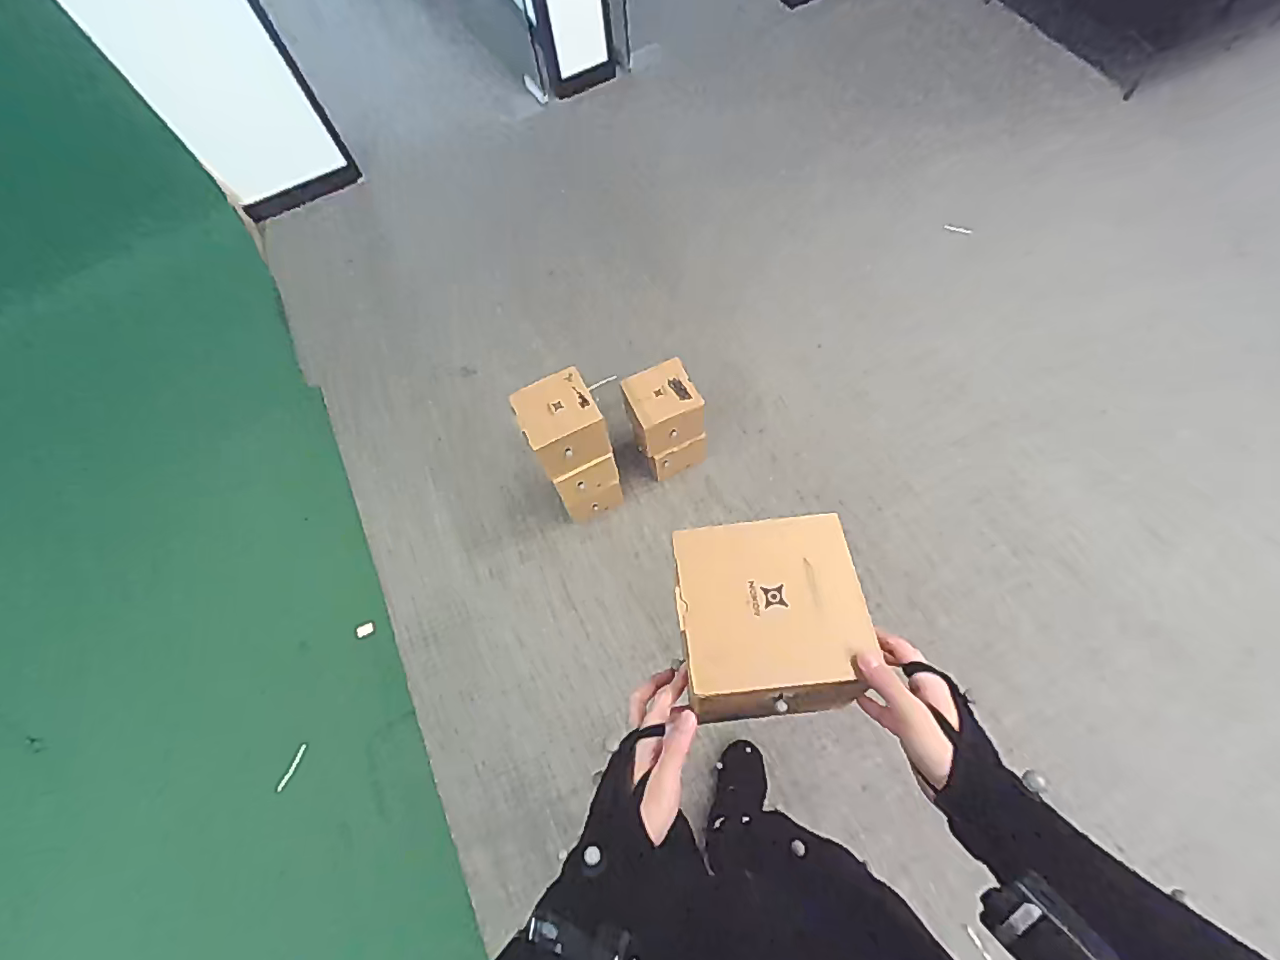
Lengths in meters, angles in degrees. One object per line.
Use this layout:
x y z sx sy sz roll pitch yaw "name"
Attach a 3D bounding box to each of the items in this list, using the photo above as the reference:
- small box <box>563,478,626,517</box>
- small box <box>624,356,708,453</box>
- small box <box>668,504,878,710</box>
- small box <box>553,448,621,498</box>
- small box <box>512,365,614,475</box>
-0.151 -0.007 1.603 0.168 0.176 0.179 -24 68 -6 "small box"
0.072 -0.201 1.485 0.179 0.176 0.168 -24 66 -4 "small box"
0.129 0.146 0.592 0.179 0.176 0.168 -7 57 2 "small box"
-0.163 -0.069 1.454 0.168 0.176 0.179 -27 67 -6 "small box"
-0.179 -0.138 1.305 0.179 0.176 0.168 -26 67 -5 "small box"
